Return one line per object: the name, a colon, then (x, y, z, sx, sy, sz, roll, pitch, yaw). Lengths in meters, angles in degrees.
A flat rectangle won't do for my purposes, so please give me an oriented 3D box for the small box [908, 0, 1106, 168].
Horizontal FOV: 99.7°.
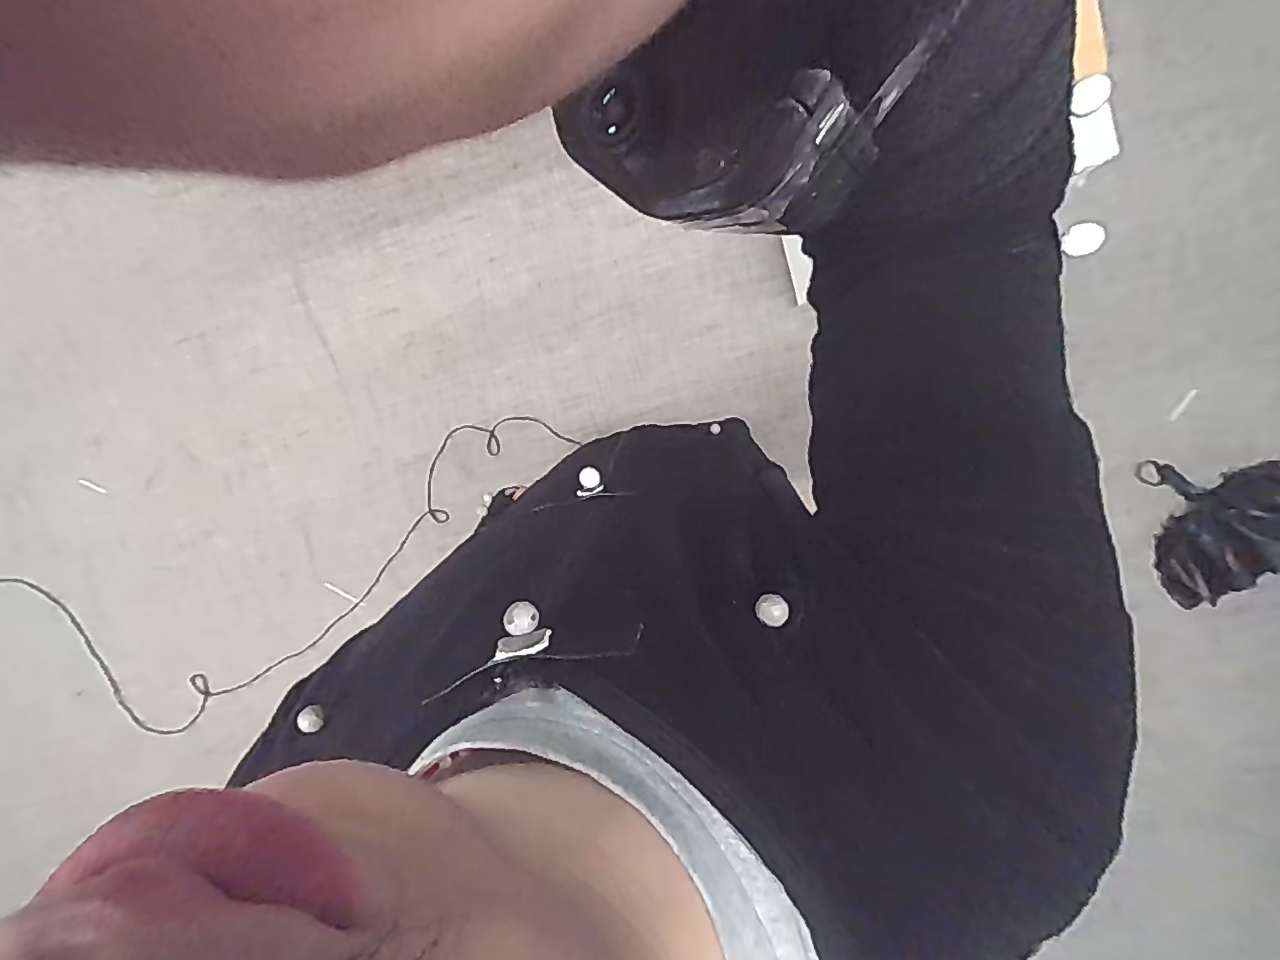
small box: (0.509, -0.592, 0.777, 0.168, 0.176, 0.179, -13, 95, 7)
